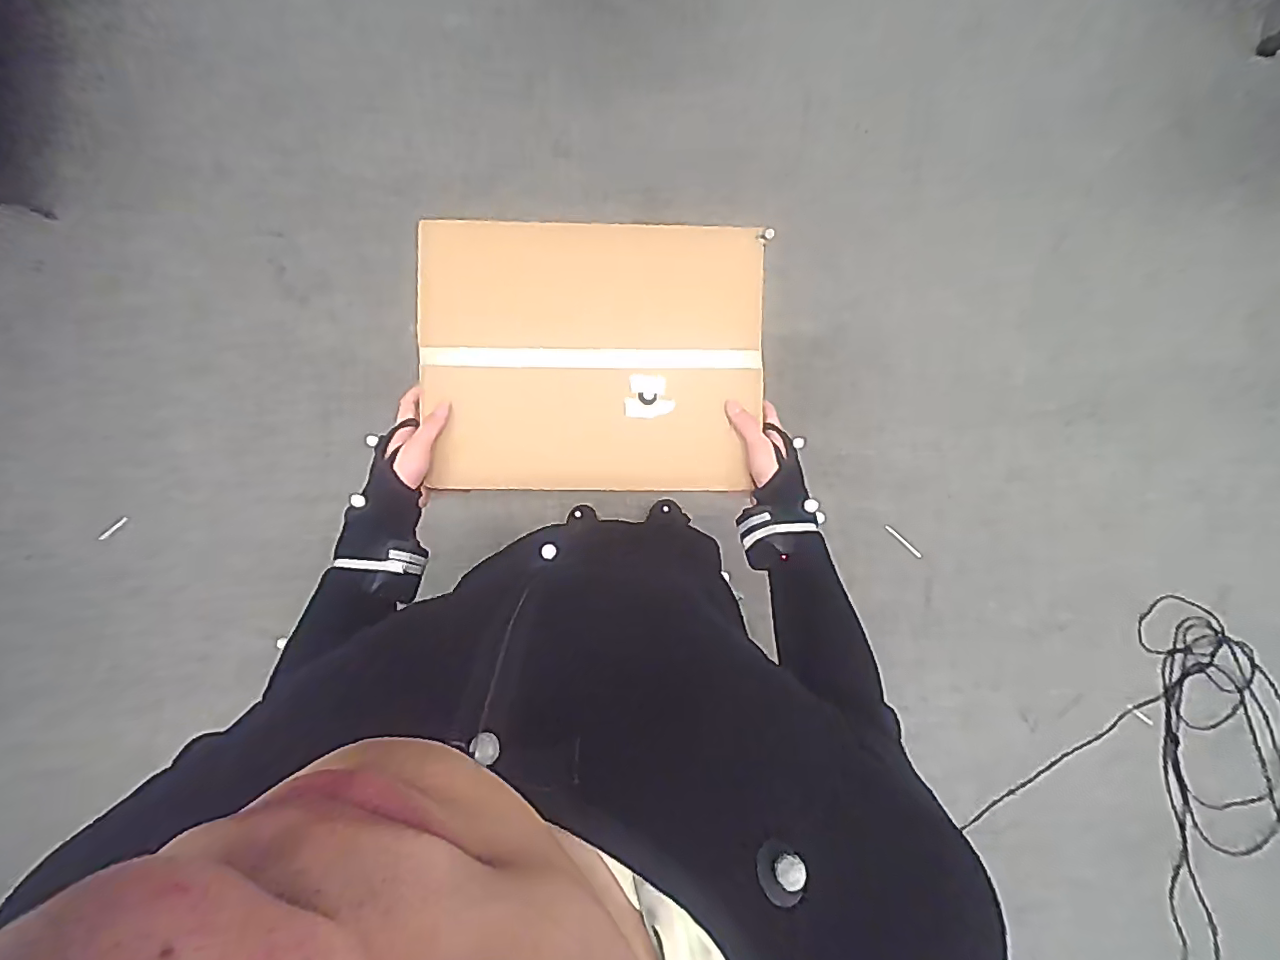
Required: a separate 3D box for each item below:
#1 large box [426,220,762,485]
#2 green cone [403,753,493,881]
[{"bbox_3d":[-0.058,-0.161,0.795,0.408,0.320,0.320,0,94,-2],"label":"large box"},{"bbox_3d":[-0.542,0.918,1.443,0.200,0.368,0.202,5,89,-1],"label":"green cone"}]
